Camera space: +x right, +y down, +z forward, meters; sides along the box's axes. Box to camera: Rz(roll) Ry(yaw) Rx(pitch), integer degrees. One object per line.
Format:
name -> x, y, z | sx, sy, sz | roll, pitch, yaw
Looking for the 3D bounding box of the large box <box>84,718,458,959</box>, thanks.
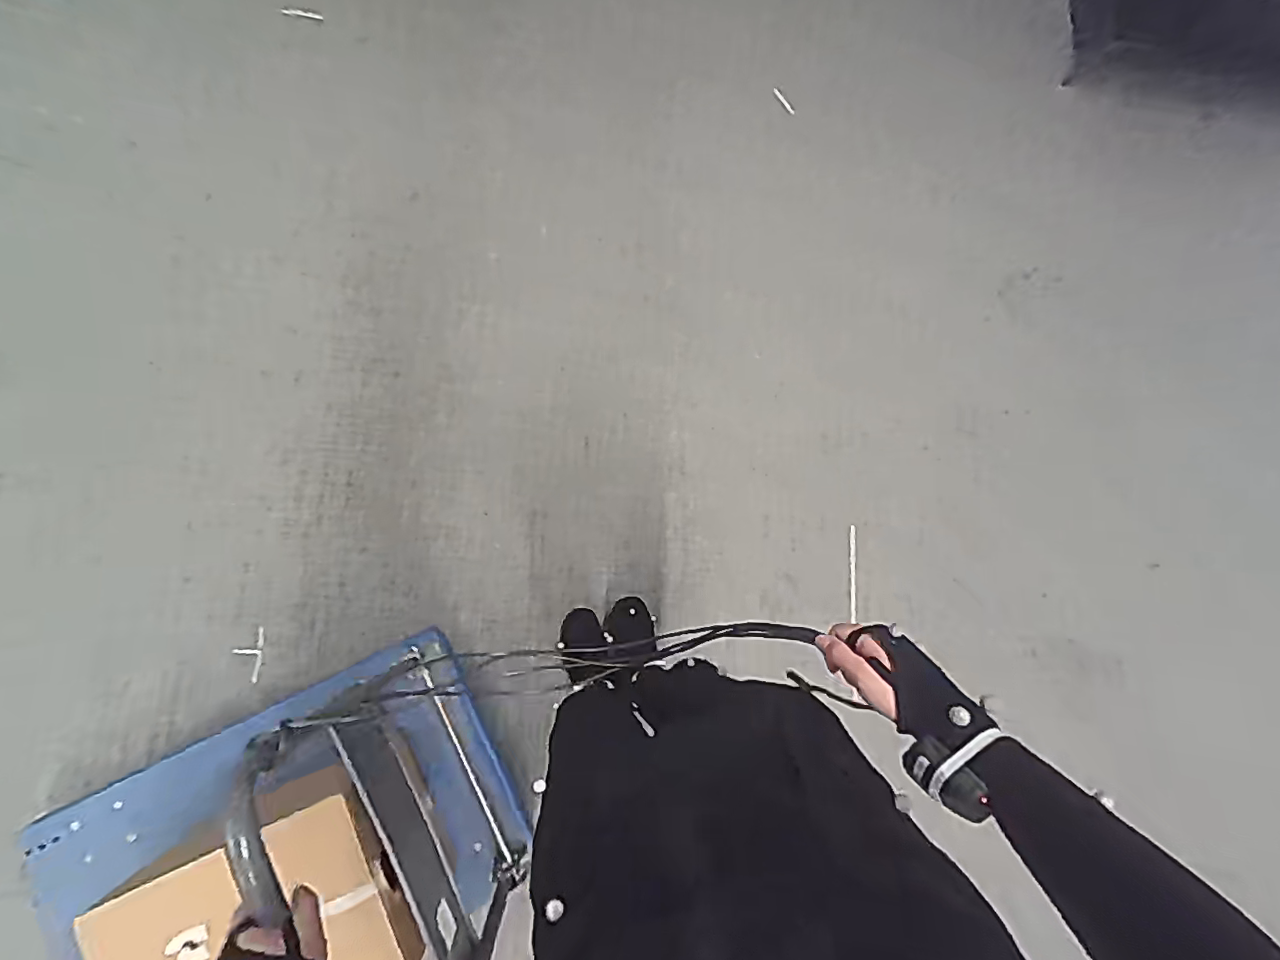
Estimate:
large box -> -0.603, 0.705, 0.971 | 0.408, 0.320, 0.320 | -24, 87, -8
